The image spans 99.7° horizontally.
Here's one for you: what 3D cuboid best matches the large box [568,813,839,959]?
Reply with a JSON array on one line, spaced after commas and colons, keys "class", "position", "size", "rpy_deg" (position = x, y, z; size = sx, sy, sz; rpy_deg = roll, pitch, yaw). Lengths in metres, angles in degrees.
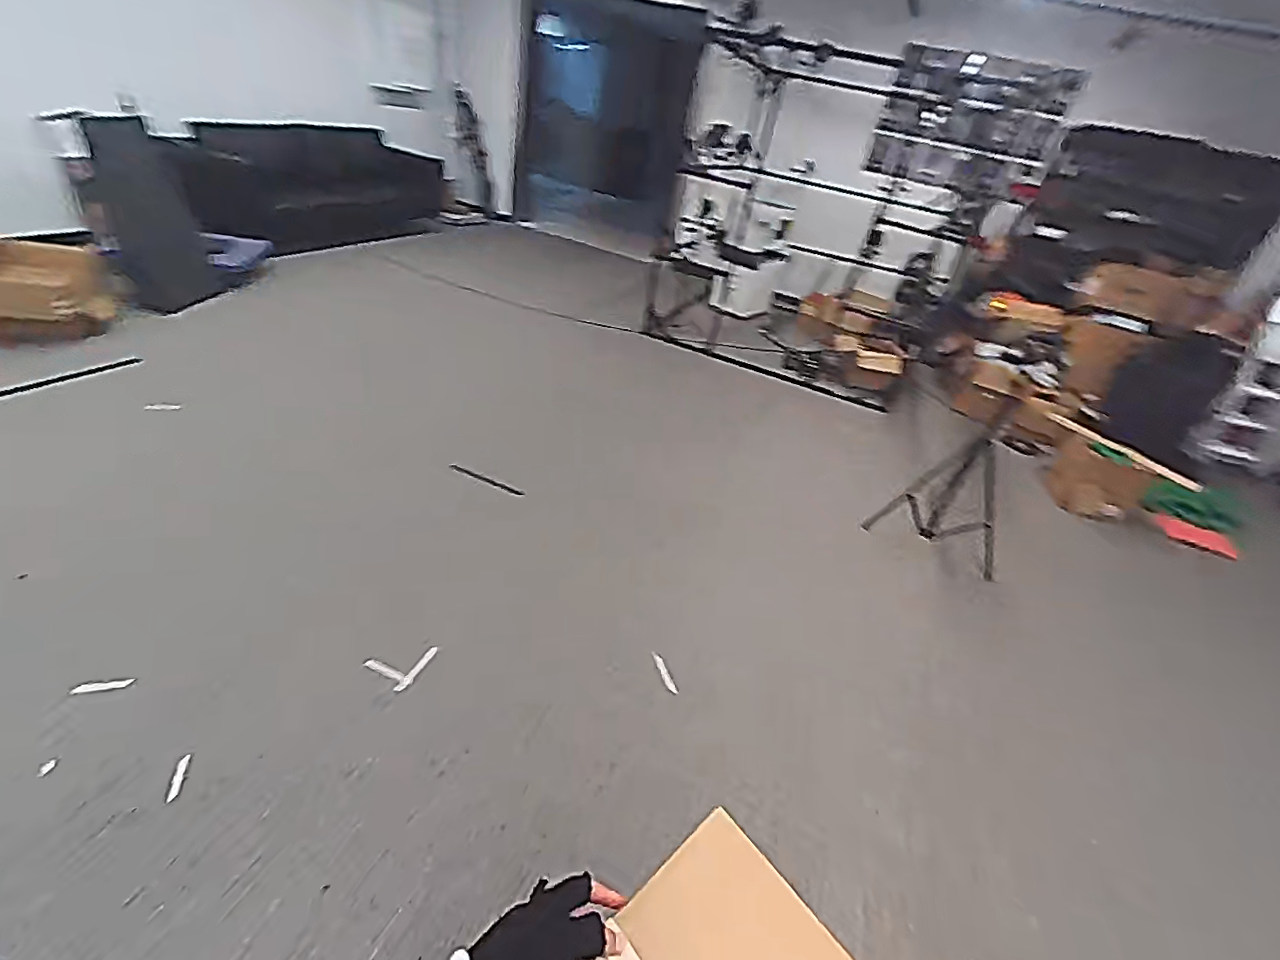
[{"class": "large box", "position": [0.071, 0.625, 0.489], "size": [0.320, 0.320, 0.408], "rpy_deg": [-28, 53, -35]}]
